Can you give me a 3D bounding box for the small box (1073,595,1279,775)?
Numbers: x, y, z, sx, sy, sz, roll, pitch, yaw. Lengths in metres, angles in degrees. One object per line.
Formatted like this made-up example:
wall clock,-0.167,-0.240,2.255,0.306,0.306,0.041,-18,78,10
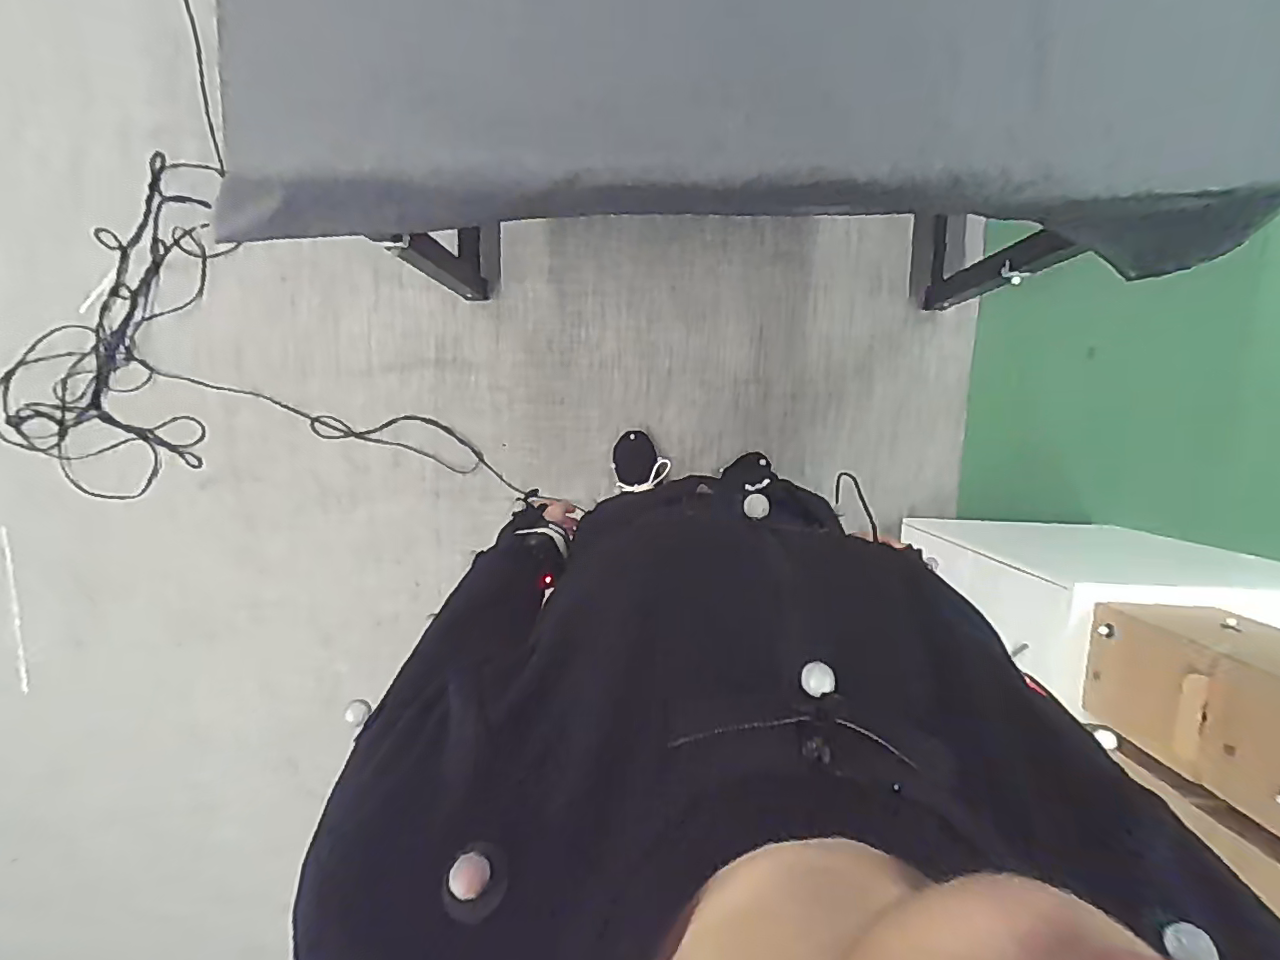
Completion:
small box,0.724,0.258,0.713,0.179,0.176,0.168,2,97,0
